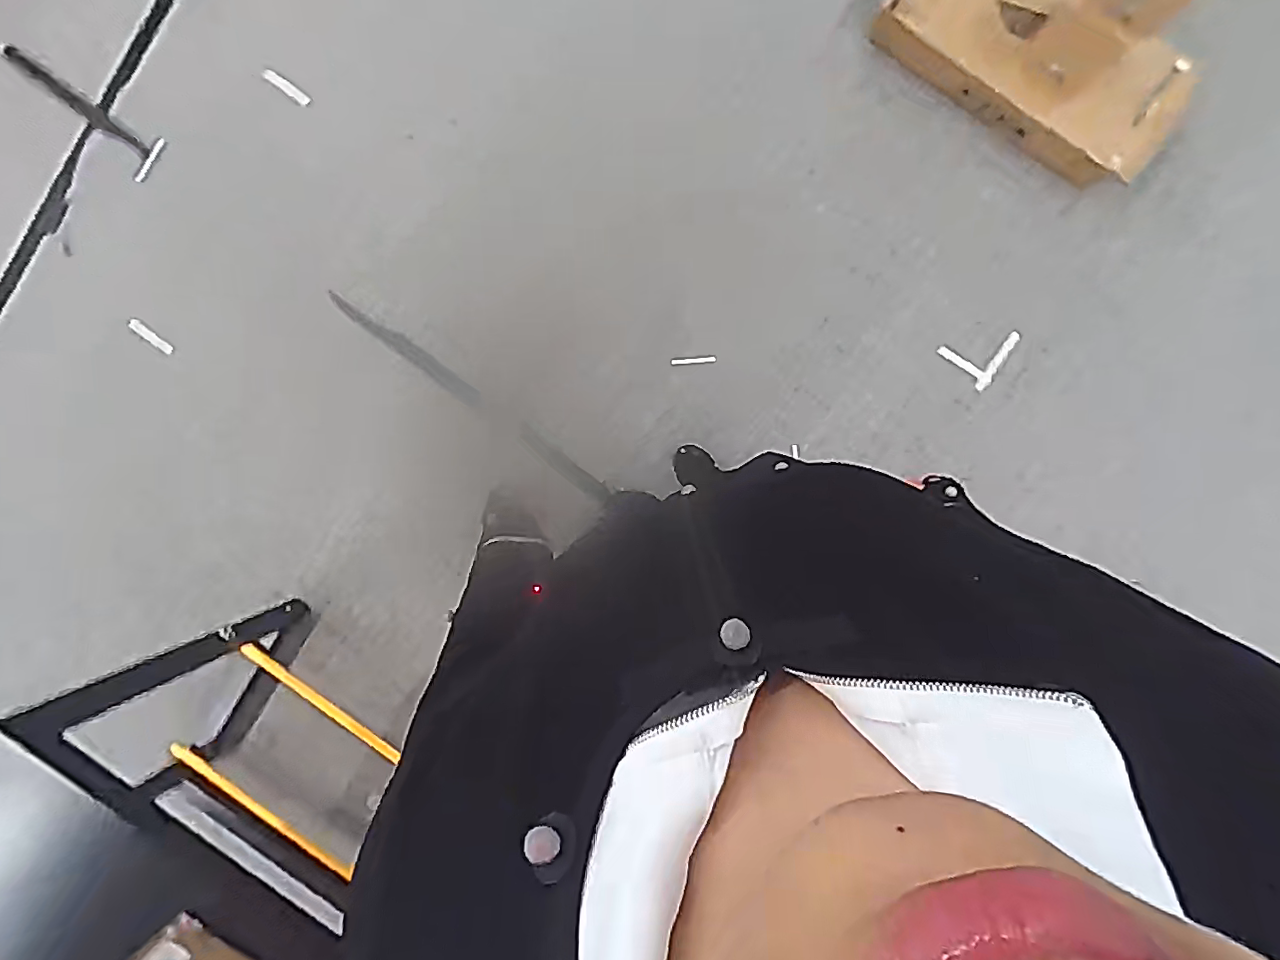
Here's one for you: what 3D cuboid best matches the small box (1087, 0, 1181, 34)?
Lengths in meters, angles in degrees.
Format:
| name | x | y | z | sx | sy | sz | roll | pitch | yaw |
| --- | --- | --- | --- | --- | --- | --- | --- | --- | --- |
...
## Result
| name | x | y | z | sx | sy | sz | roll | pitch | yaw |
| --- | --- | --- | --- | --- | --- | --- | --- | --- | --- |
| small box | 1.010 | -1.026 | 1.030 | 0.168 | 0.176 | 0.179 | 35 | 94 | 1 |

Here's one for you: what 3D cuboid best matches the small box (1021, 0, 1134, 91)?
| name | x | y | z | sx | sy | sz | roll | pitch | yaw |
| --- | --- | --- | --- | --- | --- | --- | --- | --- | --- |
| small box | 1.005 | -1.028 | 1.196 | 0.168 | 0.176 | 0.179 | 39 | 95 | 1 |
